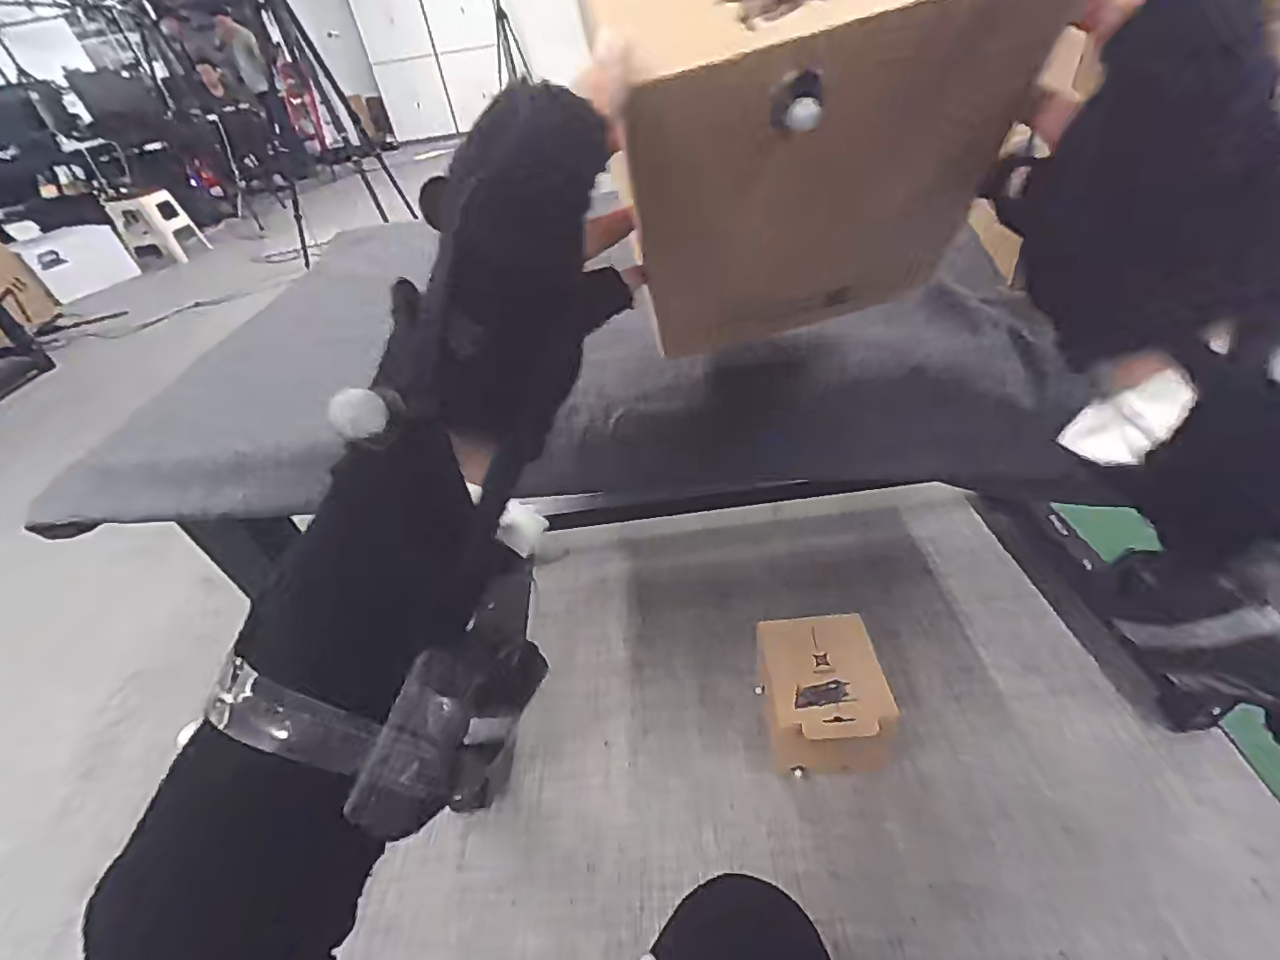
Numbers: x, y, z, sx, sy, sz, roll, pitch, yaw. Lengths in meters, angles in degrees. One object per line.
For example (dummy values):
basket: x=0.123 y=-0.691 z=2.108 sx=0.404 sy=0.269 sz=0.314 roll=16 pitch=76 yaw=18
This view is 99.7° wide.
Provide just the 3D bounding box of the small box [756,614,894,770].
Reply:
small box: x=0.281 y=0.340 z=0.857 sx=0.168 sy=0.176 sz=0.179 roll=-6 pitch=39 yaw=5

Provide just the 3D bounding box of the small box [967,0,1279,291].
small box: x=0.367 y=-0.251 z=0.406 sx=0.168 sy=0.176 sz=0.179 roll=5 pitch=40 yaw=15

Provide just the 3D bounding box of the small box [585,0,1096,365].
small box: x=0.068 y=-0.191 z=0.283 sx=0.168 sy=0.176 sz=0.179 roll=-14 pitch=68 yaw=4
